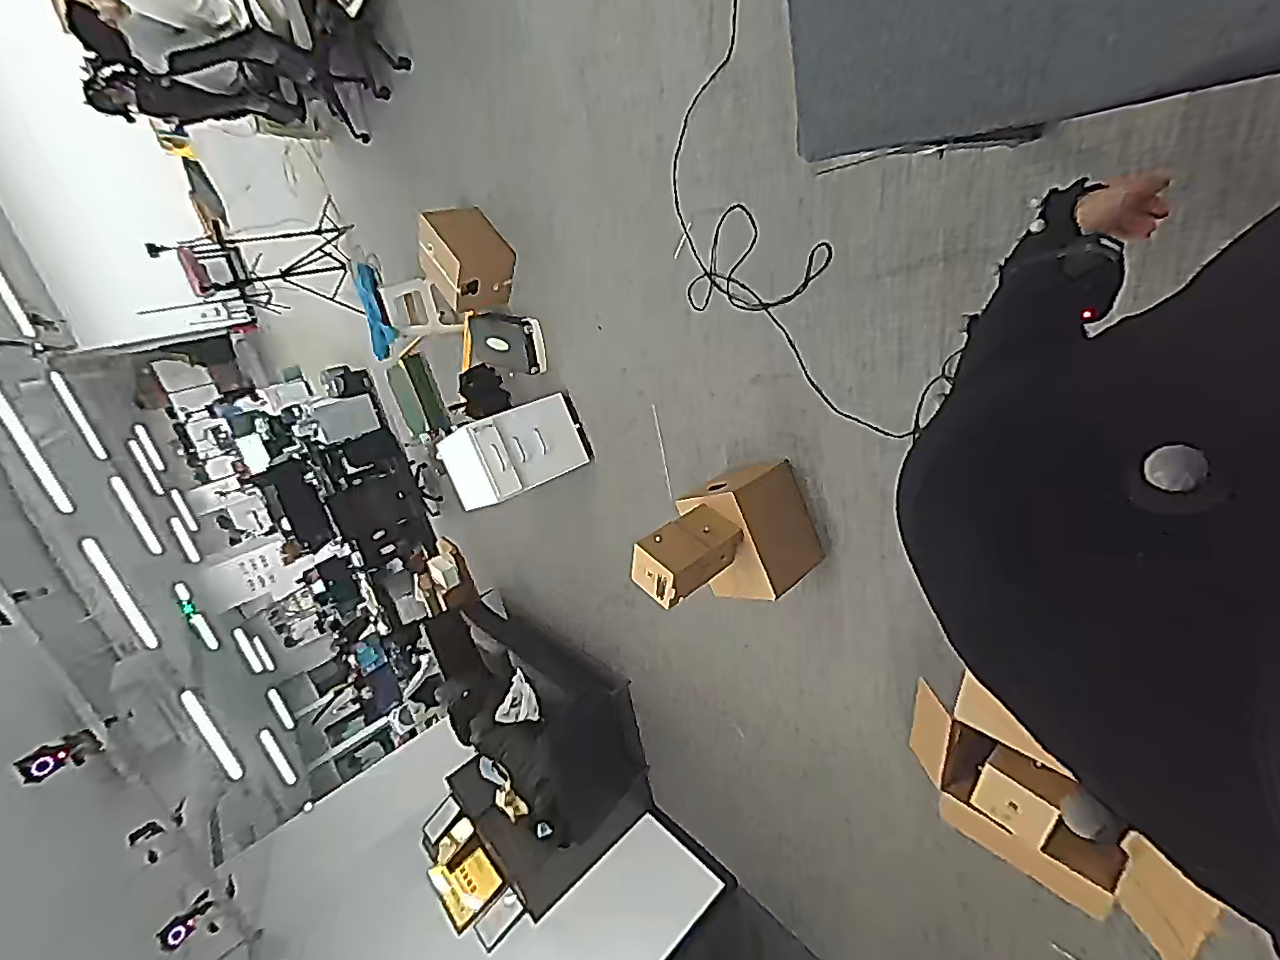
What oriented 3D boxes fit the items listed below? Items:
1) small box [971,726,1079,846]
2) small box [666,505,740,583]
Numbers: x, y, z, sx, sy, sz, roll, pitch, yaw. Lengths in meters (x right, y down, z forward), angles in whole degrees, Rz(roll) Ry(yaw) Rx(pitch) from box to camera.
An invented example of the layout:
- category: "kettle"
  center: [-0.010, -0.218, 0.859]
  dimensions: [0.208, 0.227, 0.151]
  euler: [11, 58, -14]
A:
- category: "small box"
  center: [1.003, 0.786, 1.406]
  dimensions: [0.168, 0.176, 0.179]
  euler: [29, 133, 44]
- category: "small box"
  center: [0.216, 0.211, 1.839]
  dimensions: [0.179, 0.176, 0.168]
  euler: [34, 136, 32]
